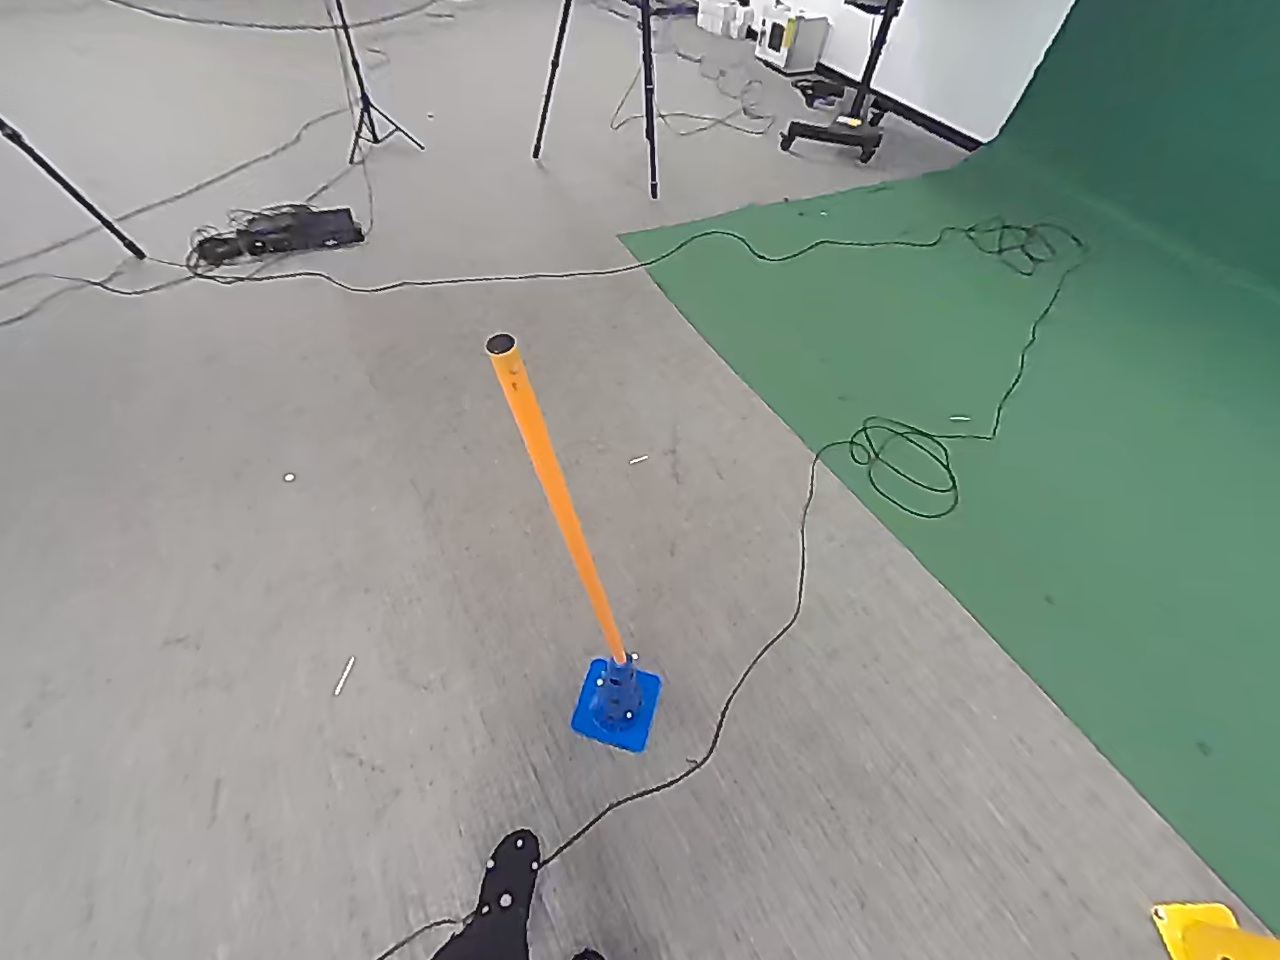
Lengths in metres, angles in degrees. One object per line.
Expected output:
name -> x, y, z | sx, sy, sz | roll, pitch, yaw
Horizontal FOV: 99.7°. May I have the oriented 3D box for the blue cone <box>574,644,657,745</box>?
blue cone -> -0.054, 0.476, 1.267 | 0.193, 0.380, 0.192 | 14, 54, 7
